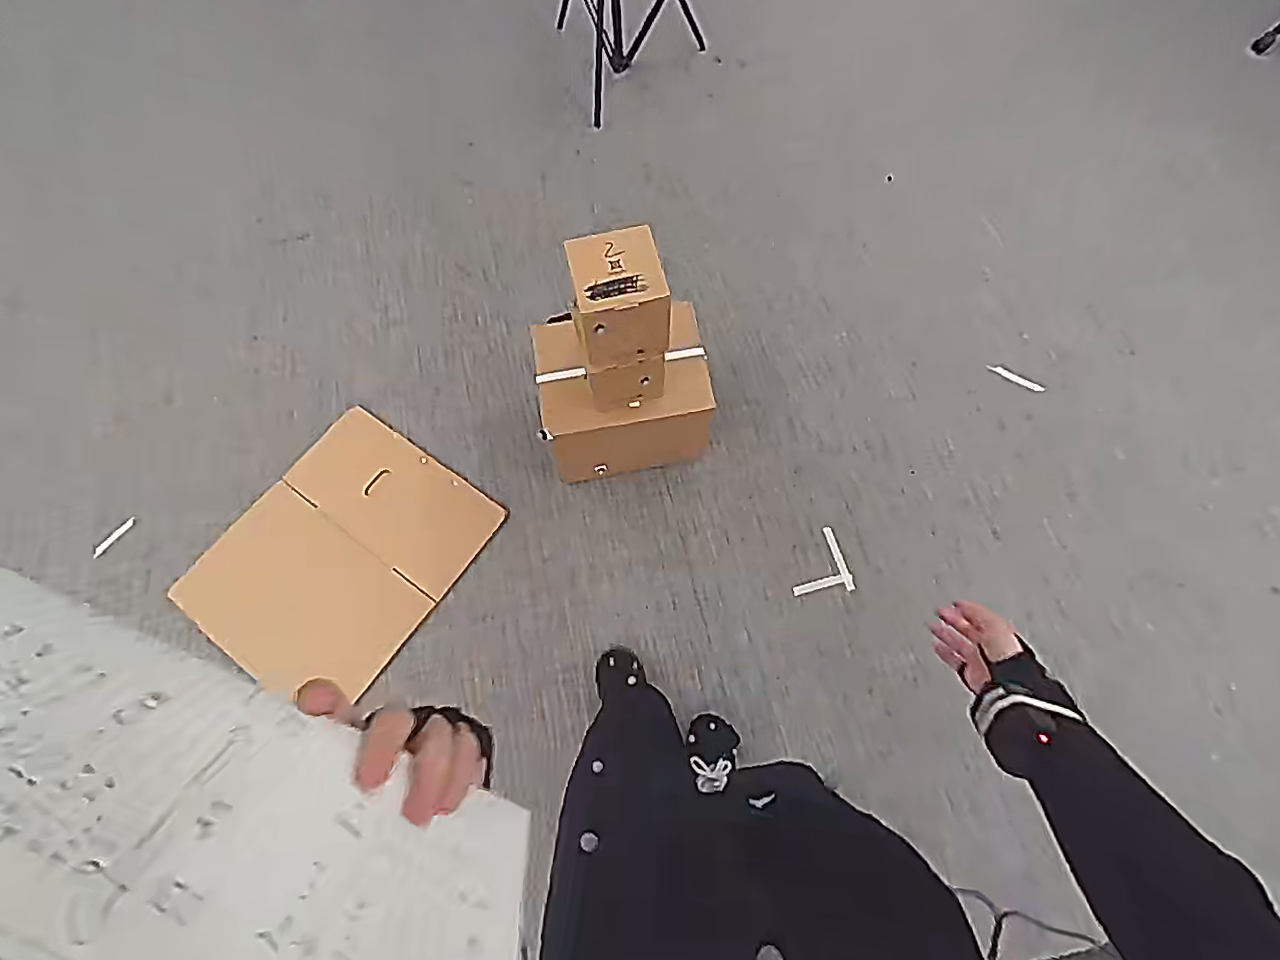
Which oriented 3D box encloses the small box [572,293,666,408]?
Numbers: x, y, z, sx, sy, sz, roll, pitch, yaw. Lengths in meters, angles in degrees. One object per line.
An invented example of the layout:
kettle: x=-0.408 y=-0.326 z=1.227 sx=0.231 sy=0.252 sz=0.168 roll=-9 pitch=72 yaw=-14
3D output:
small box: x=-0.043 y=-0.277 z=1.198 sx=0.168 sy=0.176 sz=0.179 roll=-15 pitch=69 yaw=-5
